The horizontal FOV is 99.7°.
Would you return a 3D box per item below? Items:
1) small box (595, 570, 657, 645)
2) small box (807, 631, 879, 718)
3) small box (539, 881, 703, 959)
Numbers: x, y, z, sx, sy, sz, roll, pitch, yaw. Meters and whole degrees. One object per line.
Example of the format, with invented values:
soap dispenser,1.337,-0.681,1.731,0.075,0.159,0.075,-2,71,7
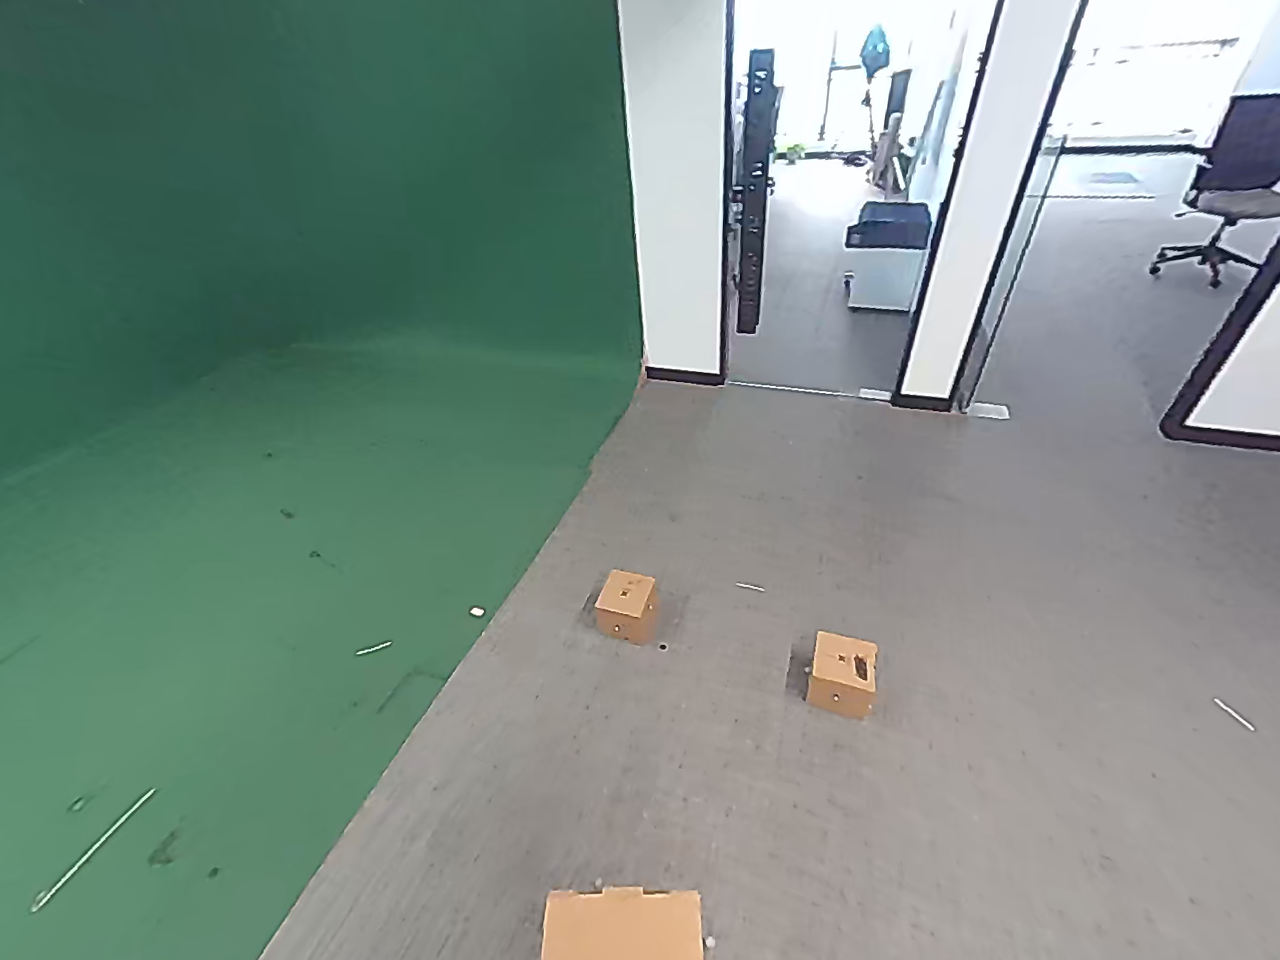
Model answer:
small box,-0.041,0.450,1.902,0.168,0.176,0.179,10,42,17
small box,0.615,0.595,1.643,0.179,0.176,0.168,9,41,19
small box,-0.016,0.545,0.576,0.168,0.176,0.179,-2,50,4
